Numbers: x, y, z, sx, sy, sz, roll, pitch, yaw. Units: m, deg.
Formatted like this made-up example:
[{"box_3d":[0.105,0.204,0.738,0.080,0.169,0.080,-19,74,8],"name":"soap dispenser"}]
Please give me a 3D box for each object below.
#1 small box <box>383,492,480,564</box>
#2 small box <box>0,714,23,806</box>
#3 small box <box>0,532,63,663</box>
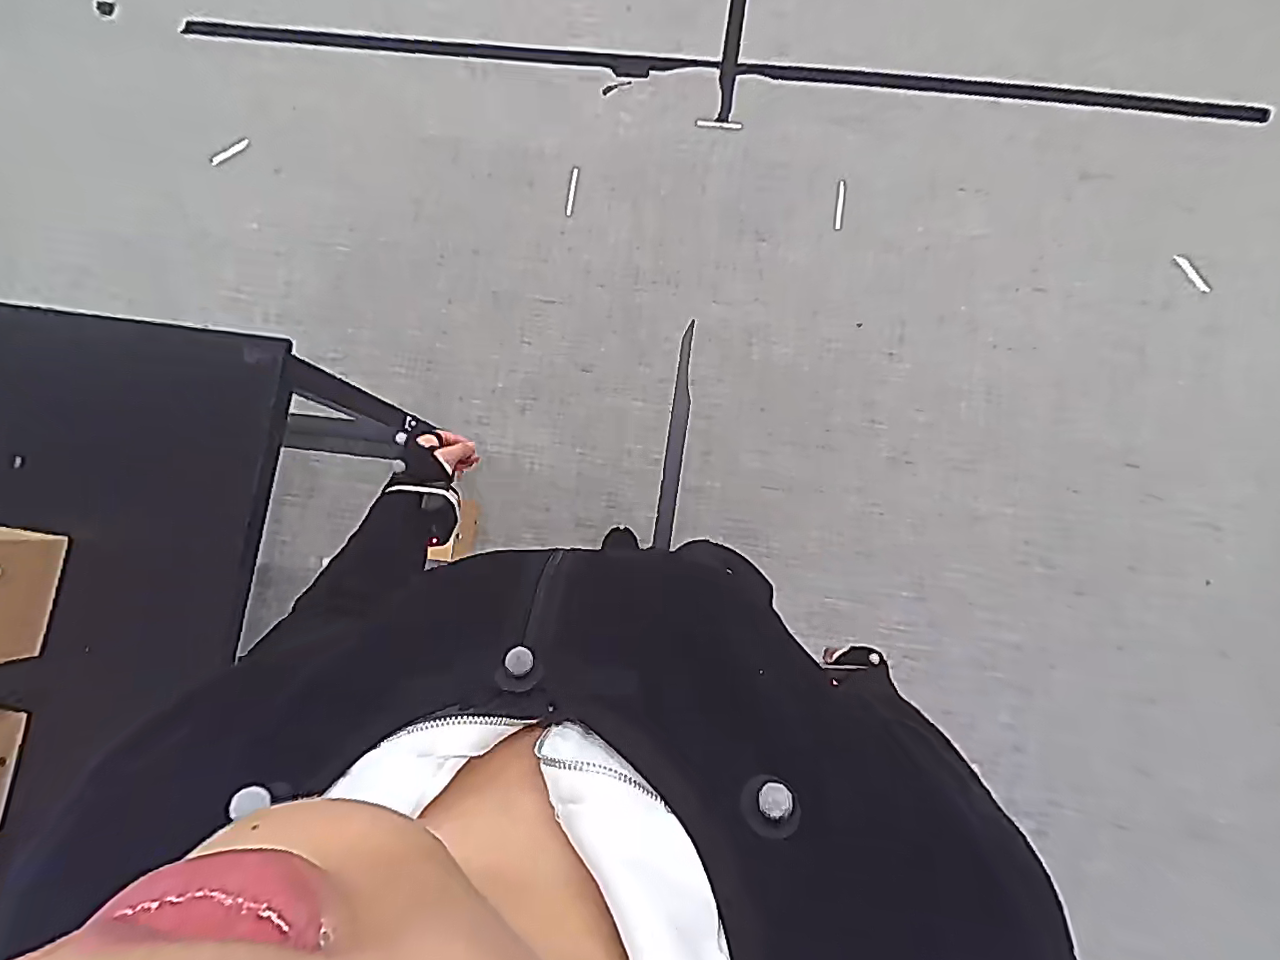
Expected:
[{"box_3d":[-0.551,0.131,1.447,0.179,0.176,0.168,7,84,3],"name":"small box"},{"box_3d":[-0.984,0.399,0.693,0.179,0.176,0.168,7,83,2],"name":"small box"},{"box_3d":[-0.950,0.154,0.725,0.168,0.176,0.179,7,85,4],"name":"small box"}]
